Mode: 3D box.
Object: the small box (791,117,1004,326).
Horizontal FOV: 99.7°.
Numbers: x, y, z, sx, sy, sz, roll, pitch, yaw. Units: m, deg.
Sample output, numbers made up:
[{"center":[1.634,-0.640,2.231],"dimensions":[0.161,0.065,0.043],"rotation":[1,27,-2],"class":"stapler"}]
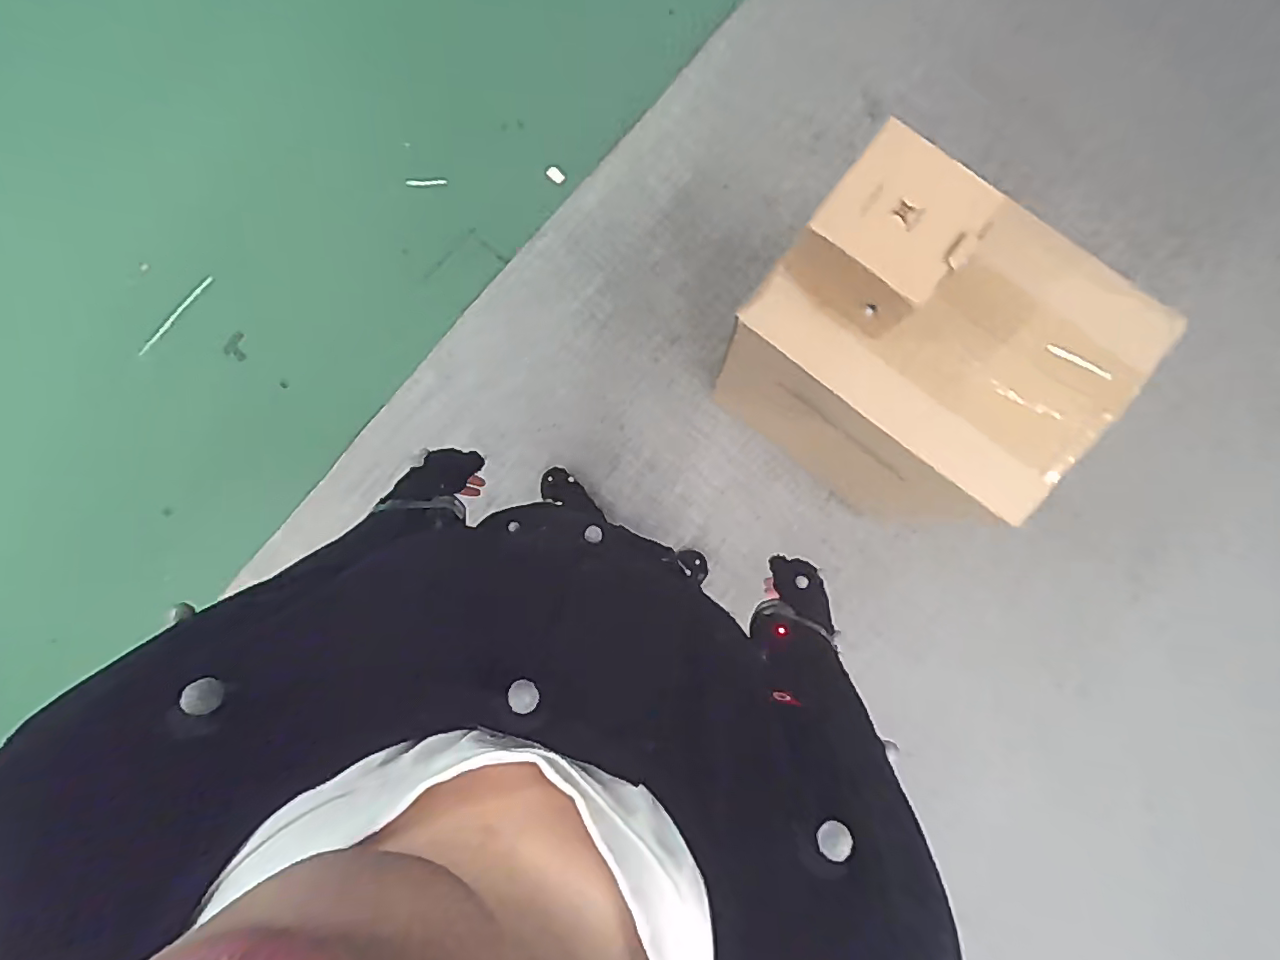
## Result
[{"center":[0.336,-0.335,0.746],"dimensions":[0.179,0.176,0.168],"rotation":[38,94,5],"class":"small box"}]
